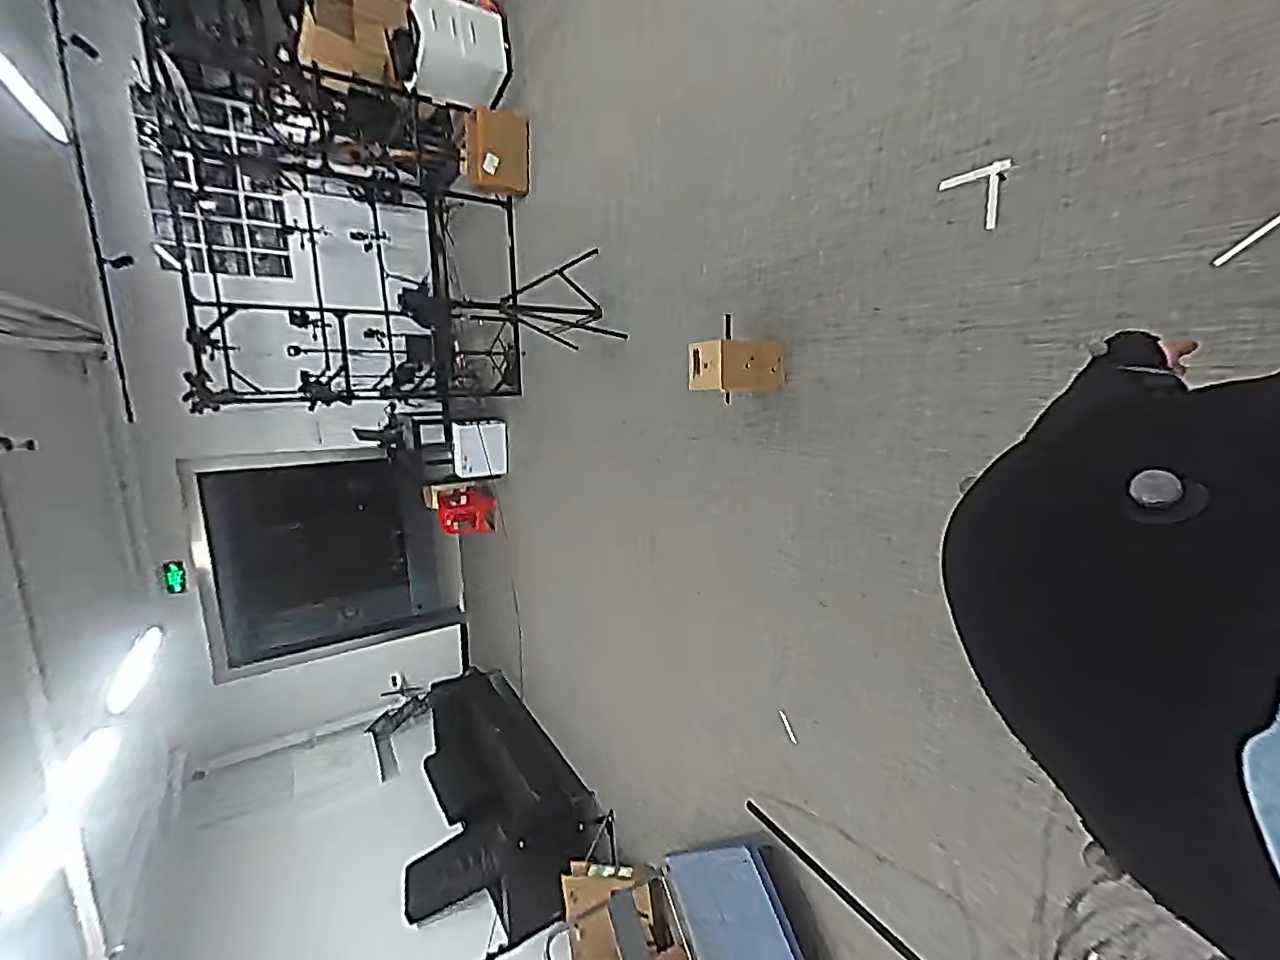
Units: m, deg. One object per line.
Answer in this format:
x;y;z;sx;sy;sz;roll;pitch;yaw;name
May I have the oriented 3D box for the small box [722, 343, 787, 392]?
0.428;-0.415;2.020;0.179;0.176;0.168;6;102;57;small box
